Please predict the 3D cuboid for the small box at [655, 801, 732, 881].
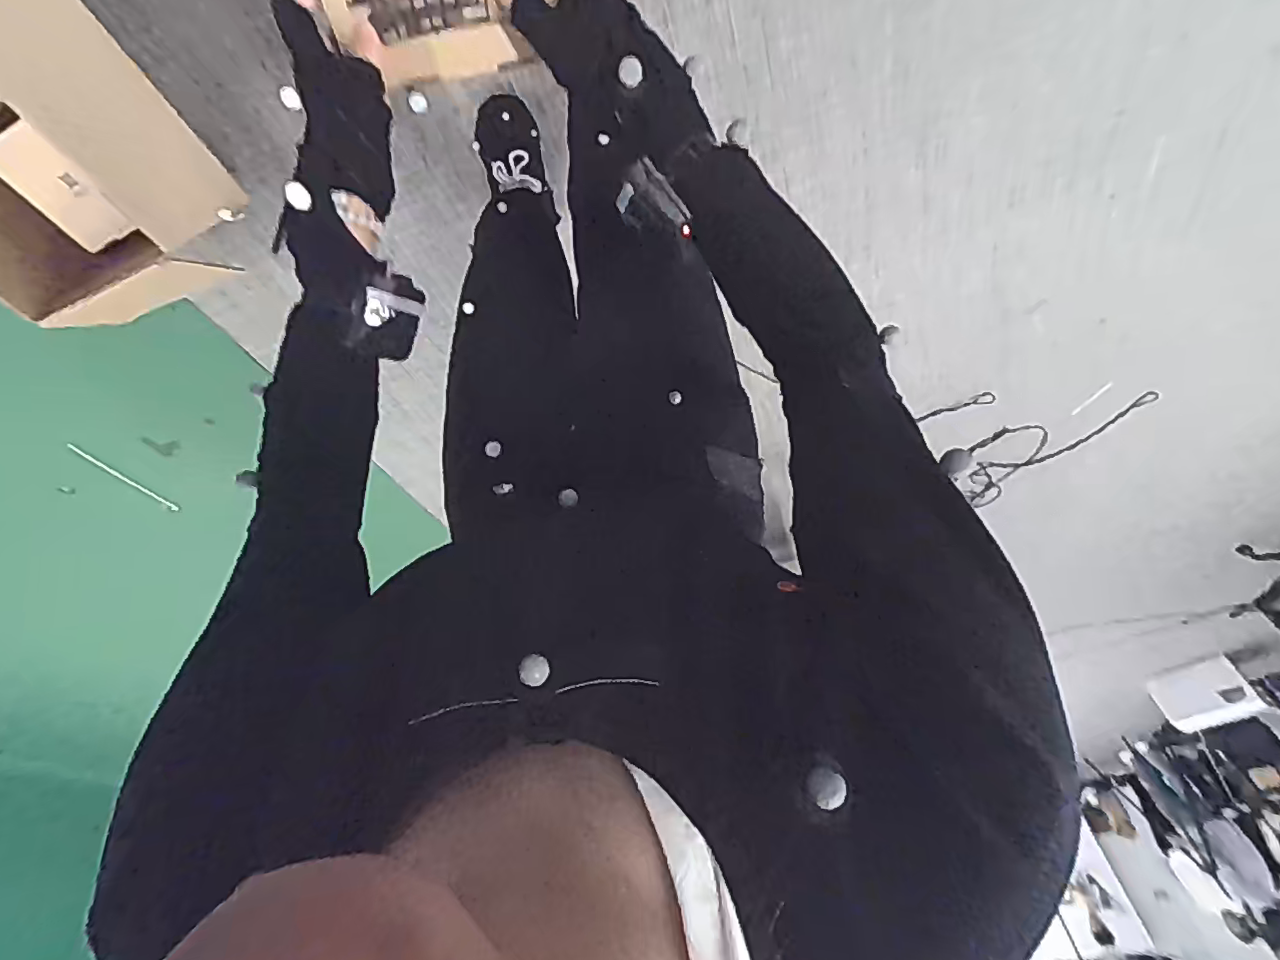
[{"bbox_3d":[0.154,1.060,1.590,0.168,0.176,0.179,-20,138,13],"label":"small box"}]
